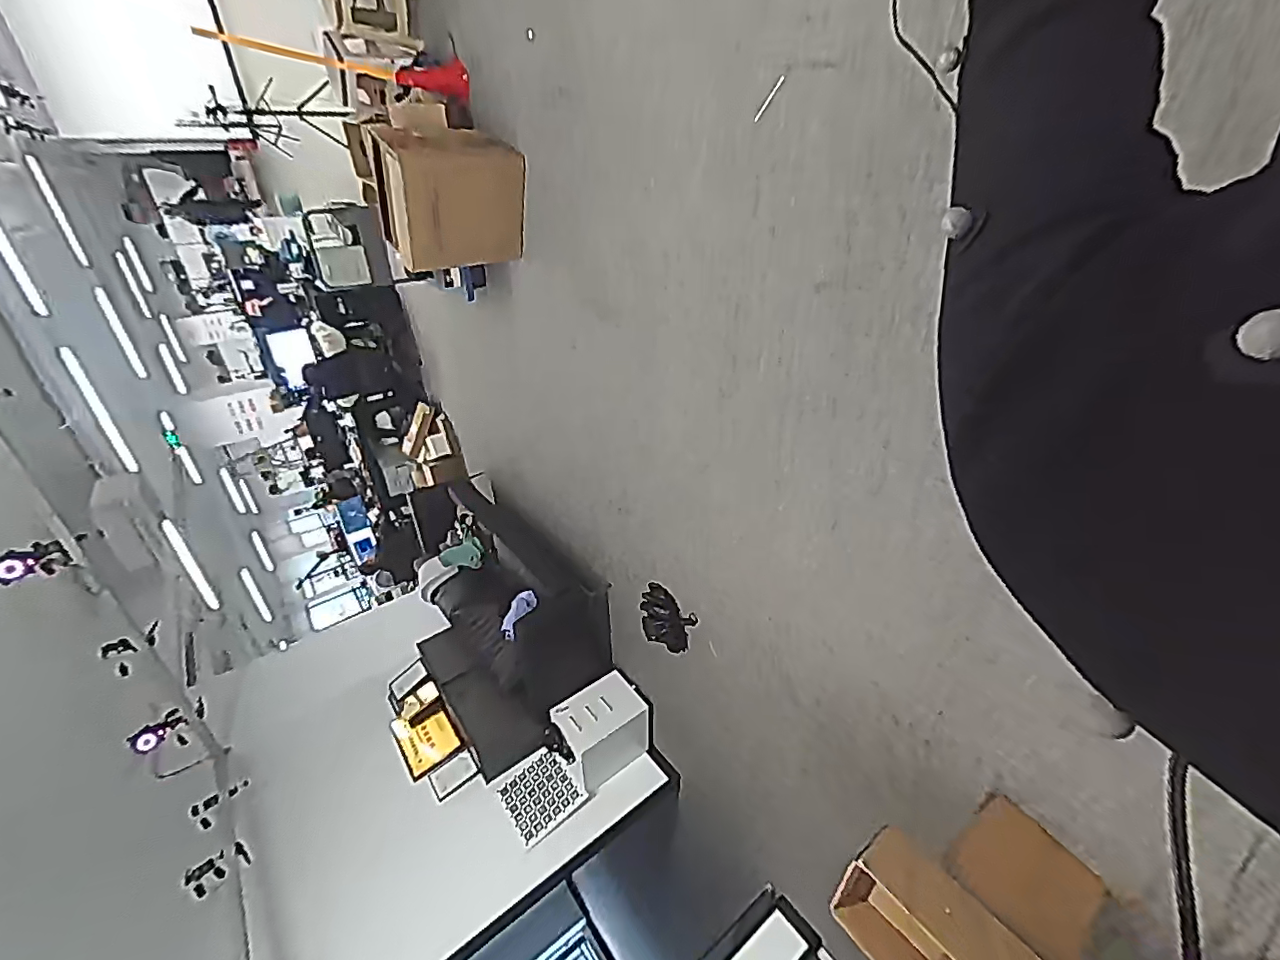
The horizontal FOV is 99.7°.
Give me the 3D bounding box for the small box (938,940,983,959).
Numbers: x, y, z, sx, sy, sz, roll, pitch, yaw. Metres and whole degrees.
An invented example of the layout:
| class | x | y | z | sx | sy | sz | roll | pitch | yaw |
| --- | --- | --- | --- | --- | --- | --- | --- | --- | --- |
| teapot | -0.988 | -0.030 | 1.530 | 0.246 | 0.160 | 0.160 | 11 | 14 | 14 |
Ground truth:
| class | x | y | z | sx | sy | sz | roll | pitch | yaw |
| --- | --- | --- | --- | --- | --- | --- | --- | --- | --- |
| small box | 0.888 | 1.417 | 1.479 | 0.168 | 0.176 | 0.179 | 40 | 142 | 42 |
